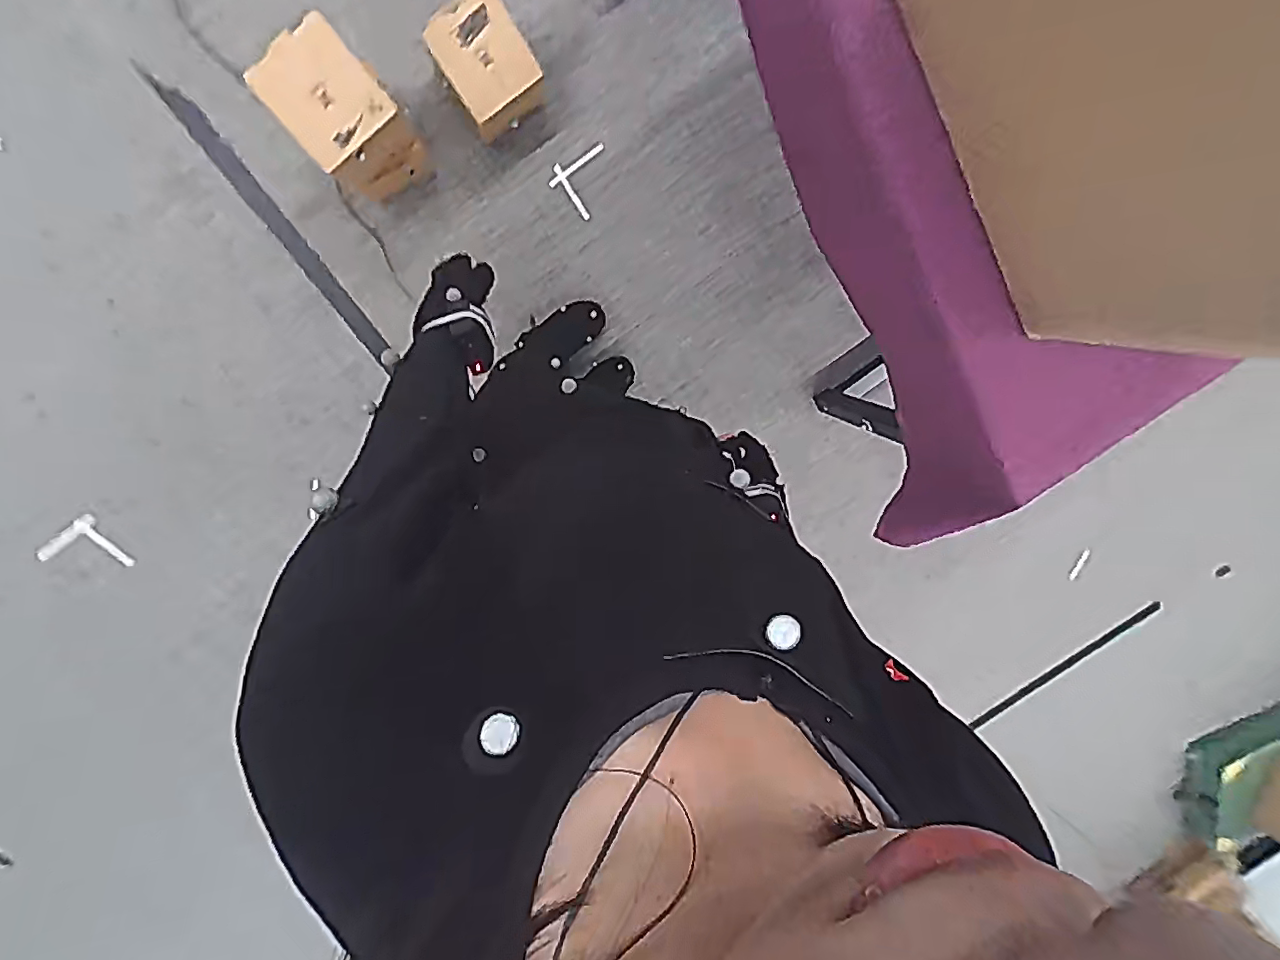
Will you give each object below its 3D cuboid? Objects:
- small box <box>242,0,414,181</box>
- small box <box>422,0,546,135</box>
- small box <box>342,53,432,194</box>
[{"bbox_3d":[-0.537,-0.671,0.959,0.168,0.176,0.179,-39,111,3],"label":"small box"},{"bbox_3d":[-0.314,-0.856,1.112,0.168,0.176,0.179,-35,112,3],"label":"small box"},{"bbox_3d":[-0.556,-0.716,1.116,0.168,0.176,0.179,-30,110,-1],"label":"small box"}]
